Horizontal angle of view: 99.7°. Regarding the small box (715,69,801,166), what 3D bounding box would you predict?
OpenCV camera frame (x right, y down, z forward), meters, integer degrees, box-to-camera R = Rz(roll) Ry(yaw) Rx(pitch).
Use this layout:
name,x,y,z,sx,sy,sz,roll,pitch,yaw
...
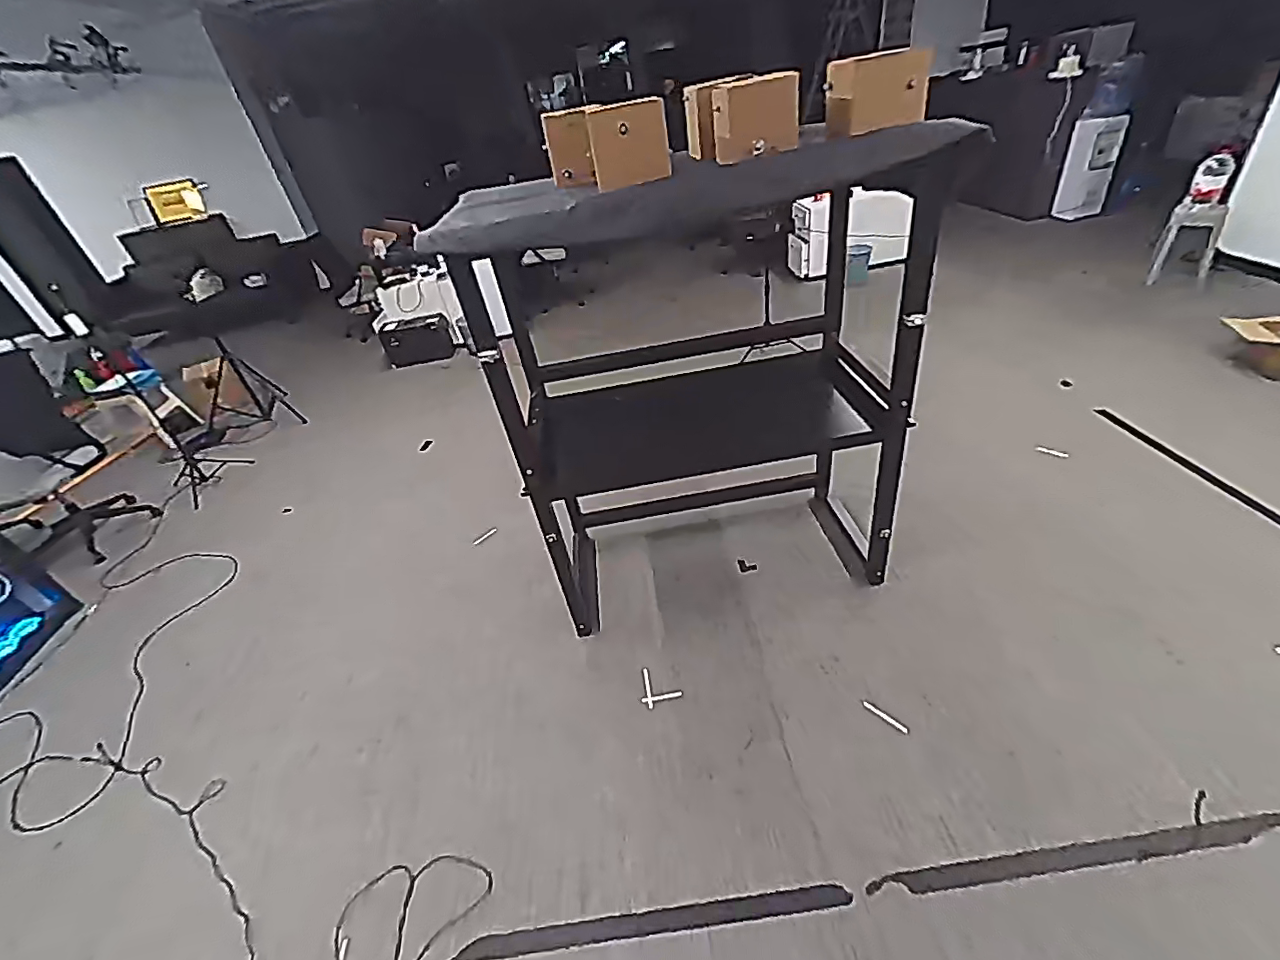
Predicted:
name,x,y,z,sx,sy,sz,roll,pitch,yaw
small box,0.280,-0.869,1.302,0.168,0.176,0.179,-10,36,2

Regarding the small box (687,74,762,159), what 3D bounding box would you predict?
name,x,y,z,sx,sy,sz,roll,pitch,yaw
small box,0.232,-1.005,1.494,0.179,0.176,0.168,-10,35,0

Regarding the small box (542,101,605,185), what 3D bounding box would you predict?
name,x,y,z,sx,sy,sz,roll,pitch,yaw
small box,-0.167,-0.924,1.488,0.168,0.176,0.179,-12,36,-3

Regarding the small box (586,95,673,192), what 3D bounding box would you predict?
name,x,y,z,sx,sy,sz,roll,pitch,yaw
small box,-0.025,-0.796,1.282,0.179,0.176,0.168,-9,37,2
